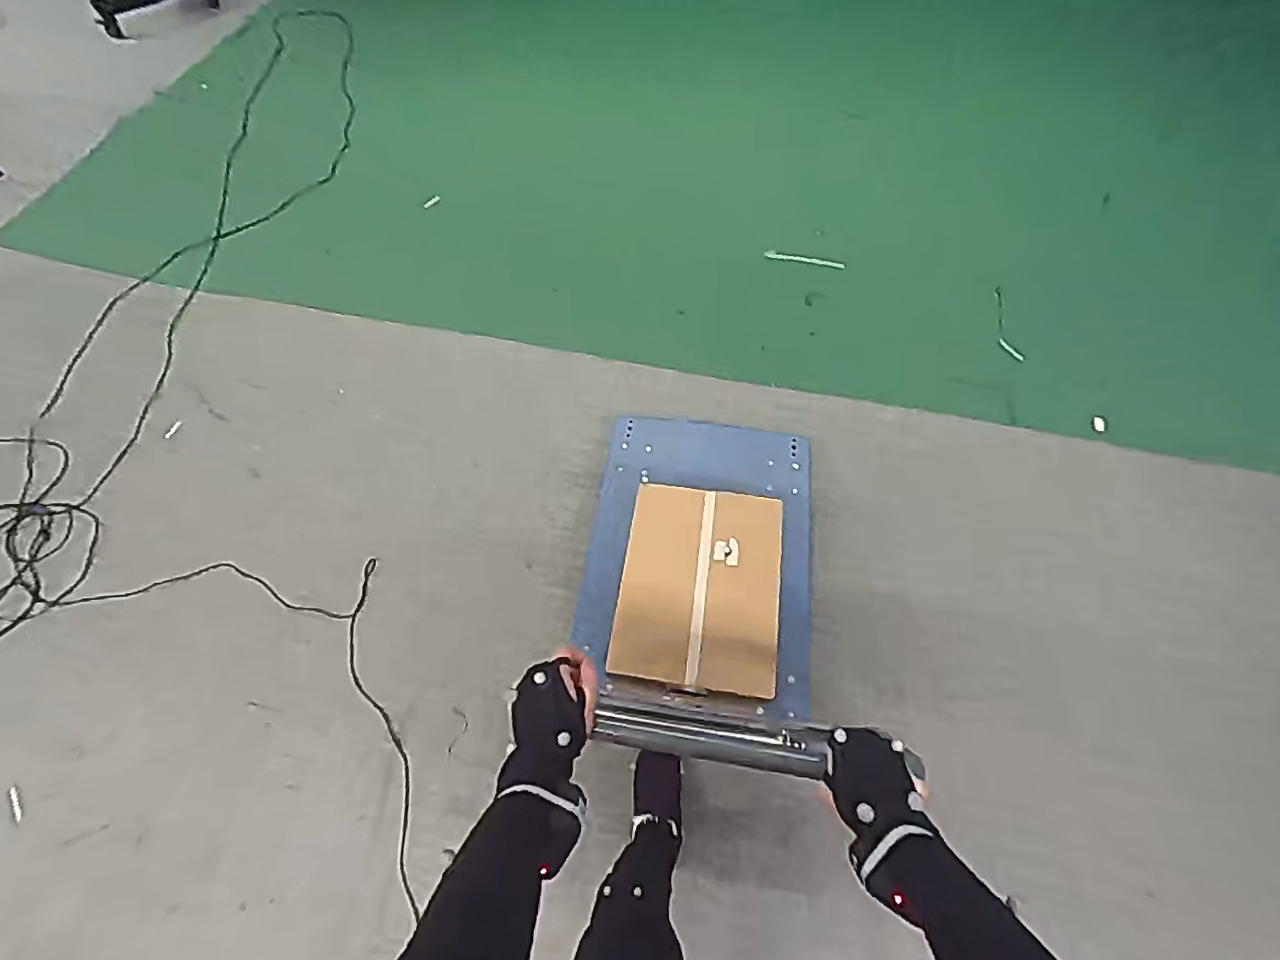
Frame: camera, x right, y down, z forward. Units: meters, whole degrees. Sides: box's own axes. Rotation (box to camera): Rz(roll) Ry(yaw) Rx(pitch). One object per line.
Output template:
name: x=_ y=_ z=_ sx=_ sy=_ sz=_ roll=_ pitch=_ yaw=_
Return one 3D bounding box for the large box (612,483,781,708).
large box: x=0.130 y=0.265 z=1.210 sx=0.320 sy=0.320 sz=0.408 roll=7 pitch=62 yaw=5
